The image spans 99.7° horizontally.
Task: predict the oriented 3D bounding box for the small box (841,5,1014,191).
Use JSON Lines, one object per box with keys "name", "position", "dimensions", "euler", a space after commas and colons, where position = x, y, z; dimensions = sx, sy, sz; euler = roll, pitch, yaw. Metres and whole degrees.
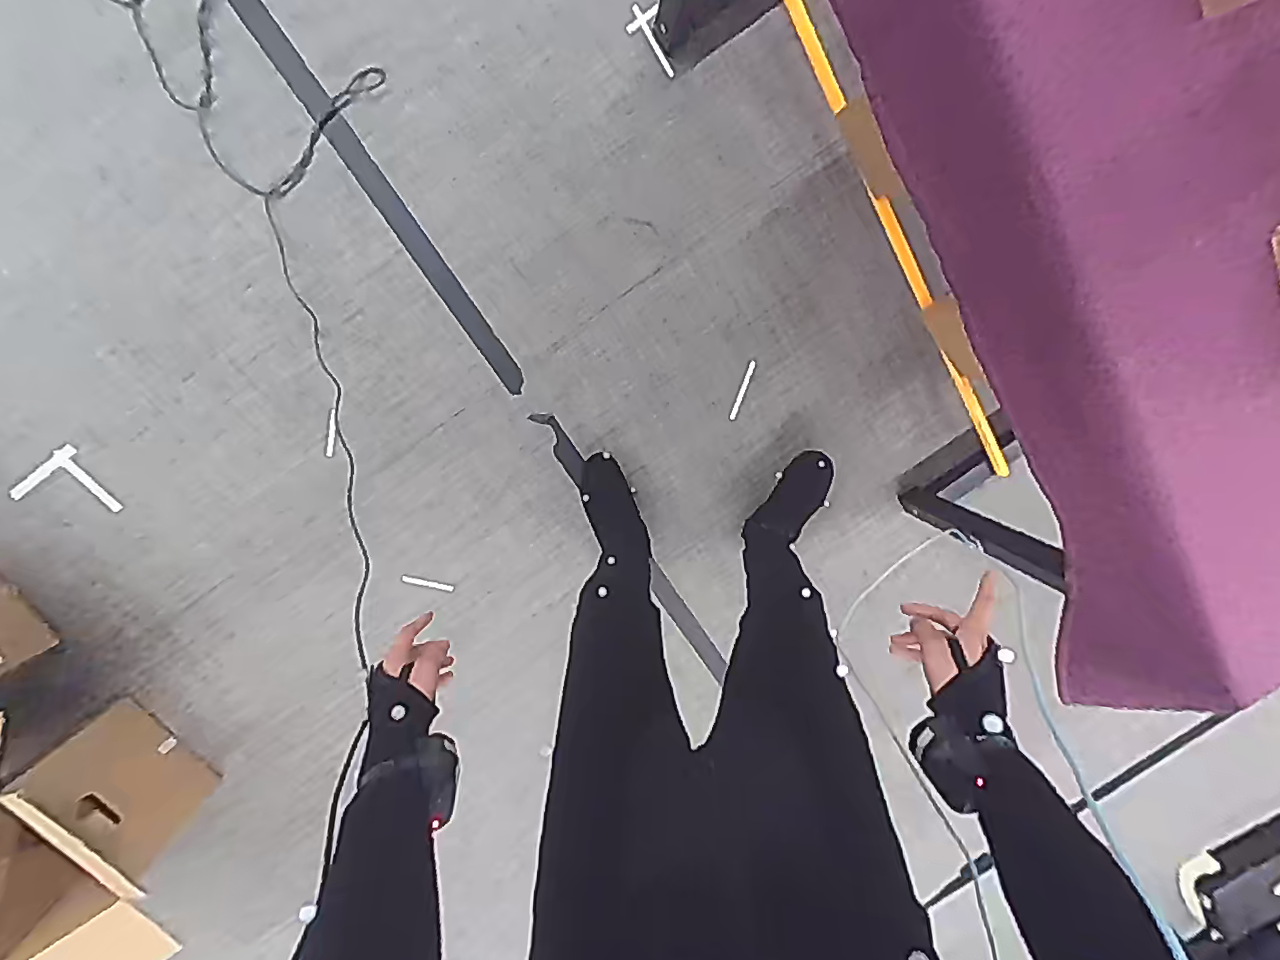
{"name": "small box", "position": [0.483, -0.639, 0.934], "dimensions": [0.168, 0.176, 0.179], "euler": [-37, 108, 4]}
